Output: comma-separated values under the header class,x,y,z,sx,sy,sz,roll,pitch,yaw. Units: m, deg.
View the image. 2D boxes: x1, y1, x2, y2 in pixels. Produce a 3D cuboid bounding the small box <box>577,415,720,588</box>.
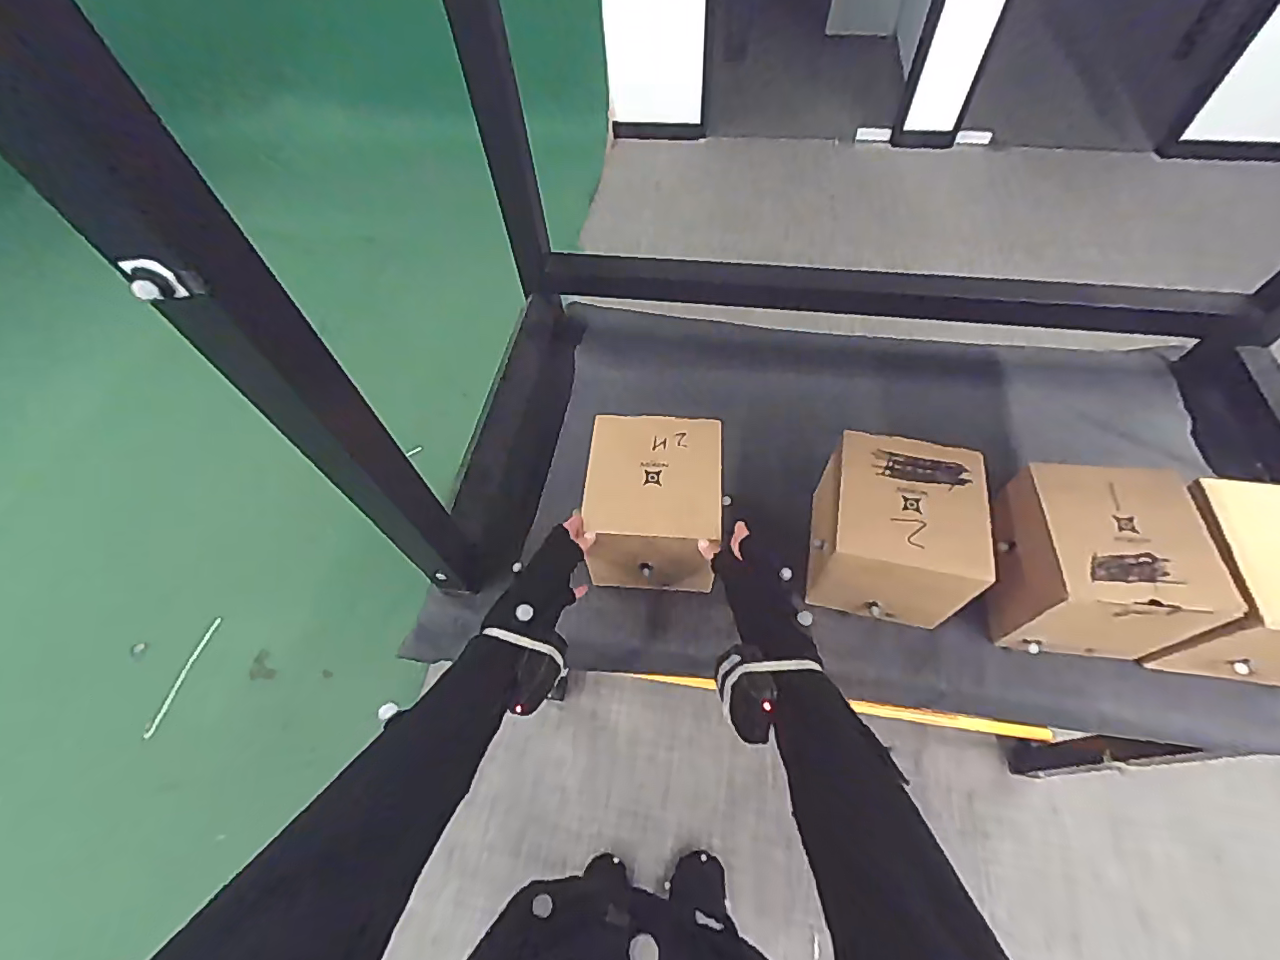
class,x,y,z,sx,sy,sz,roll,pitch,yaw
small box,0.018,0.034,0.726,0.168,0.176,0.179,3,57,4
